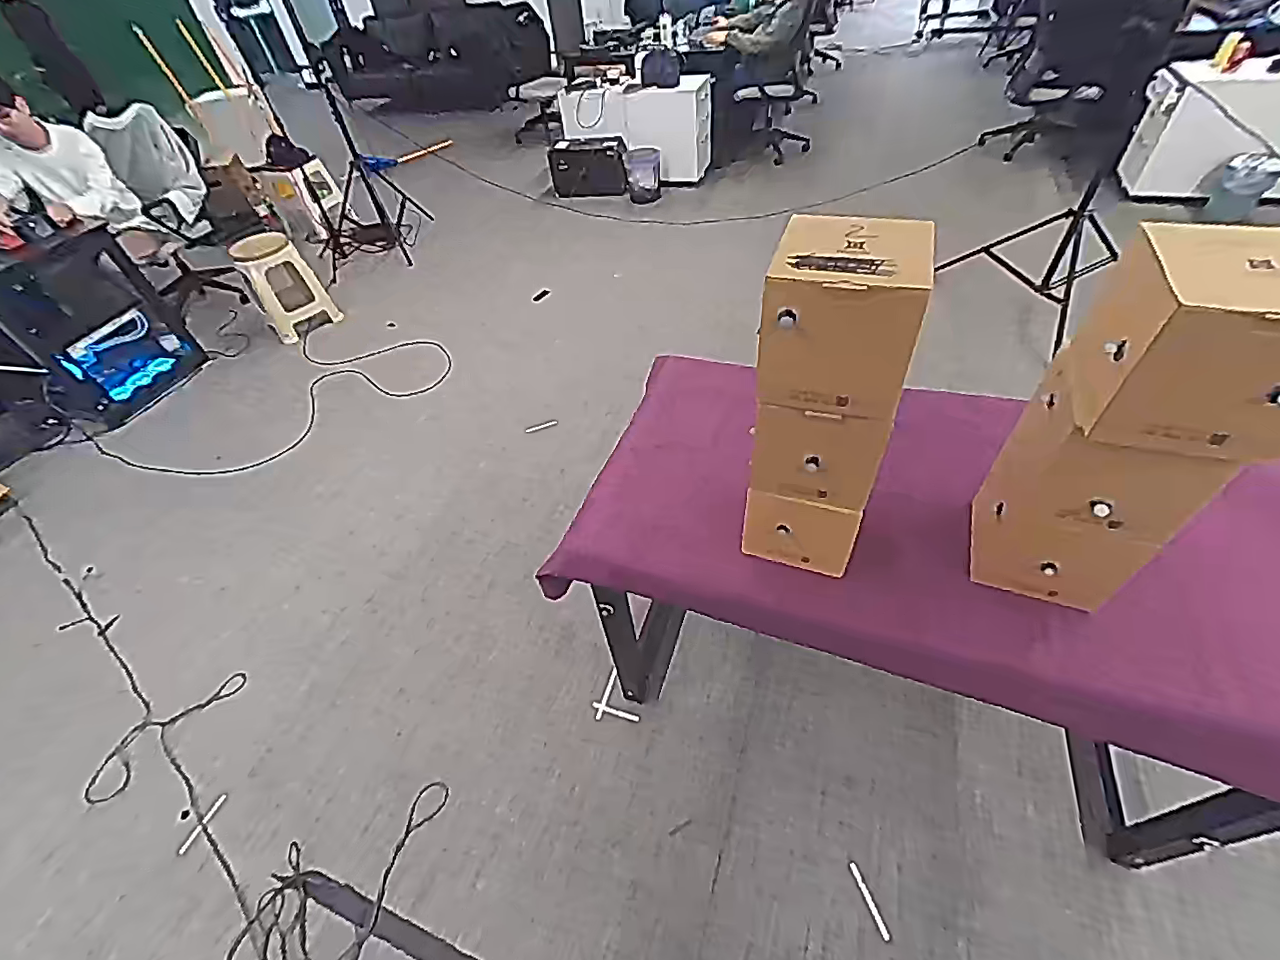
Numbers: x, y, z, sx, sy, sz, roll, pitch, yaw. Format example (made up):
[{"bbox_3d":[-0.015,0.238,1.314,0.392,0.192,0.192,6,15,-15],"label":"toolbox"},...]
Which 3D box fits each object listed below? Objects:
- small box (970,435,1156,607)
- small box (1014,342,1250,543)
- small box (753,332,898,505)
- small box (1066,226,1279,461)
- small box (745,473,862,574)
[{"bbox_3d":[0.620,0.064,0.818,0.168,0.176,0.179,15,50,19],"label":"small box"},{"bbox_3d":[0.609,-0.049,0.699,0.168,0.176,0.179,14,51,19],"label":"small box"},{"bbox_3d":[0.261,-0.087,0.779,0.168,0.176,0.179,11,49,16],"label":"small box"},{"bbox_3d":[0.589,-0.143,0.566,0.168,0.176,0.179,12,50,16],"label":"small box"},{"bbox_3d":[0.274,0.029,0.894,0.168,0.176,0.179,13,49,18],"label":"small box"}]
